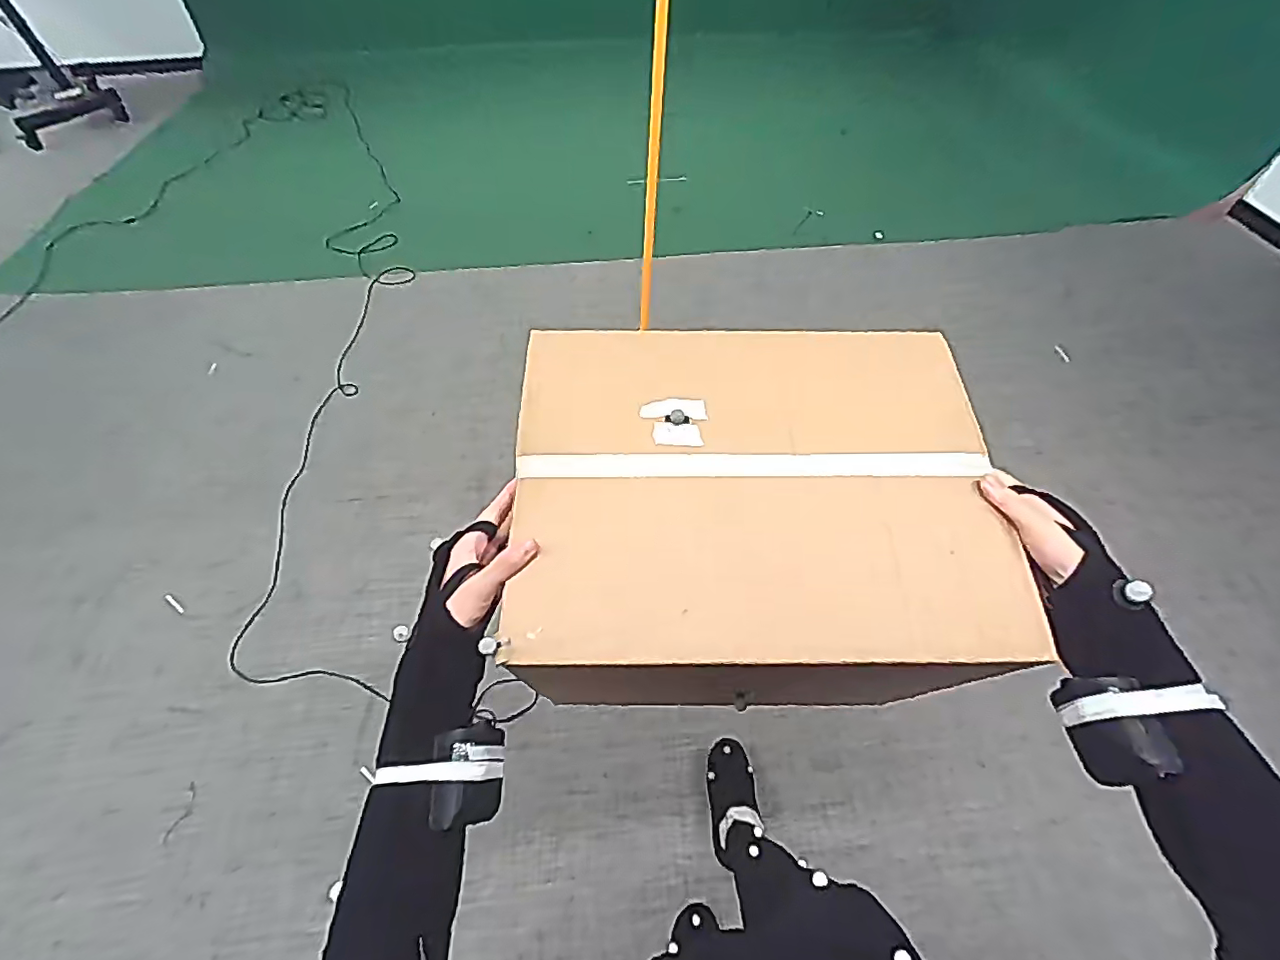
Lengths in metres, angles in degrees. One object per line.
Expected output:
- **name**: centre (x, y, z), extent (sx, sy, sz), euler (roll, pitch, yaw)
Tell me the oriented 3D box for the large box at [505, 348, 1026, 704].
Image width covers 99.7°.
- **large box**: centre (0.096, 0.074, 0.606), extent (0.408, 0.320, 0.320), euler (0, 62, 0)
